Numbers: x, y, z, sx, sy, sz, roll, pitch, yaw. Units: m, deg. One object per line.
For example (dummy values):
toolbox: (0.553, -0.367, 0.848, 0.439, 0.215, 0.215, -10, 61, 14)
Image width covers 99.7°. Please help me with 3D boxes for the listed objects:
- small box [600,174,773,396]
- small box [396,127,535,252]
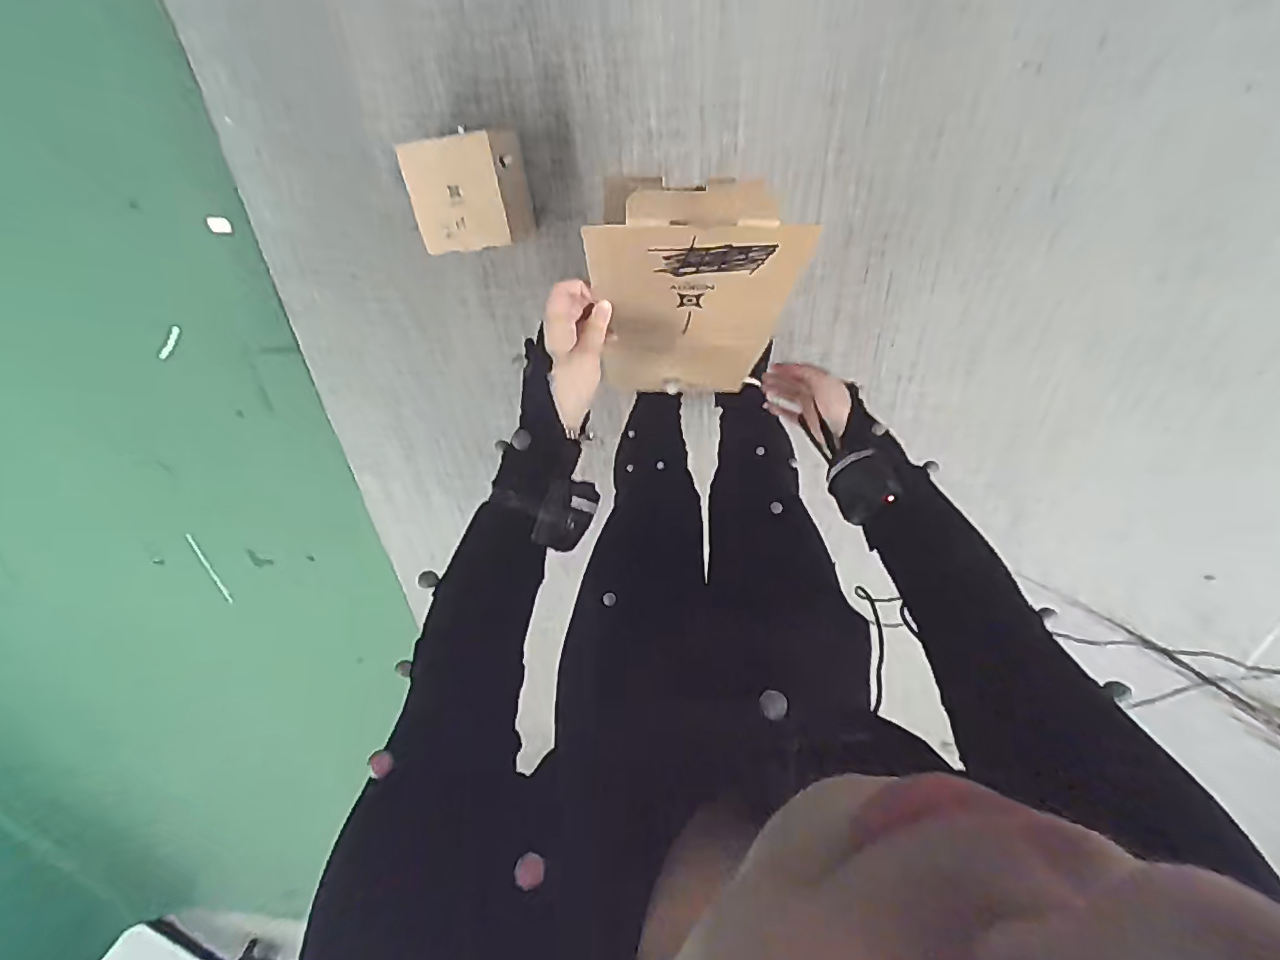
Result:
small box: (0.044, -0.202, 0.595, 0.168, 0.176, 0.179, 0, 82, 1)
small box: (-0.305, -0.529, 0.986, 0.168, 0.176, 0.179, -3, 122, 9)
